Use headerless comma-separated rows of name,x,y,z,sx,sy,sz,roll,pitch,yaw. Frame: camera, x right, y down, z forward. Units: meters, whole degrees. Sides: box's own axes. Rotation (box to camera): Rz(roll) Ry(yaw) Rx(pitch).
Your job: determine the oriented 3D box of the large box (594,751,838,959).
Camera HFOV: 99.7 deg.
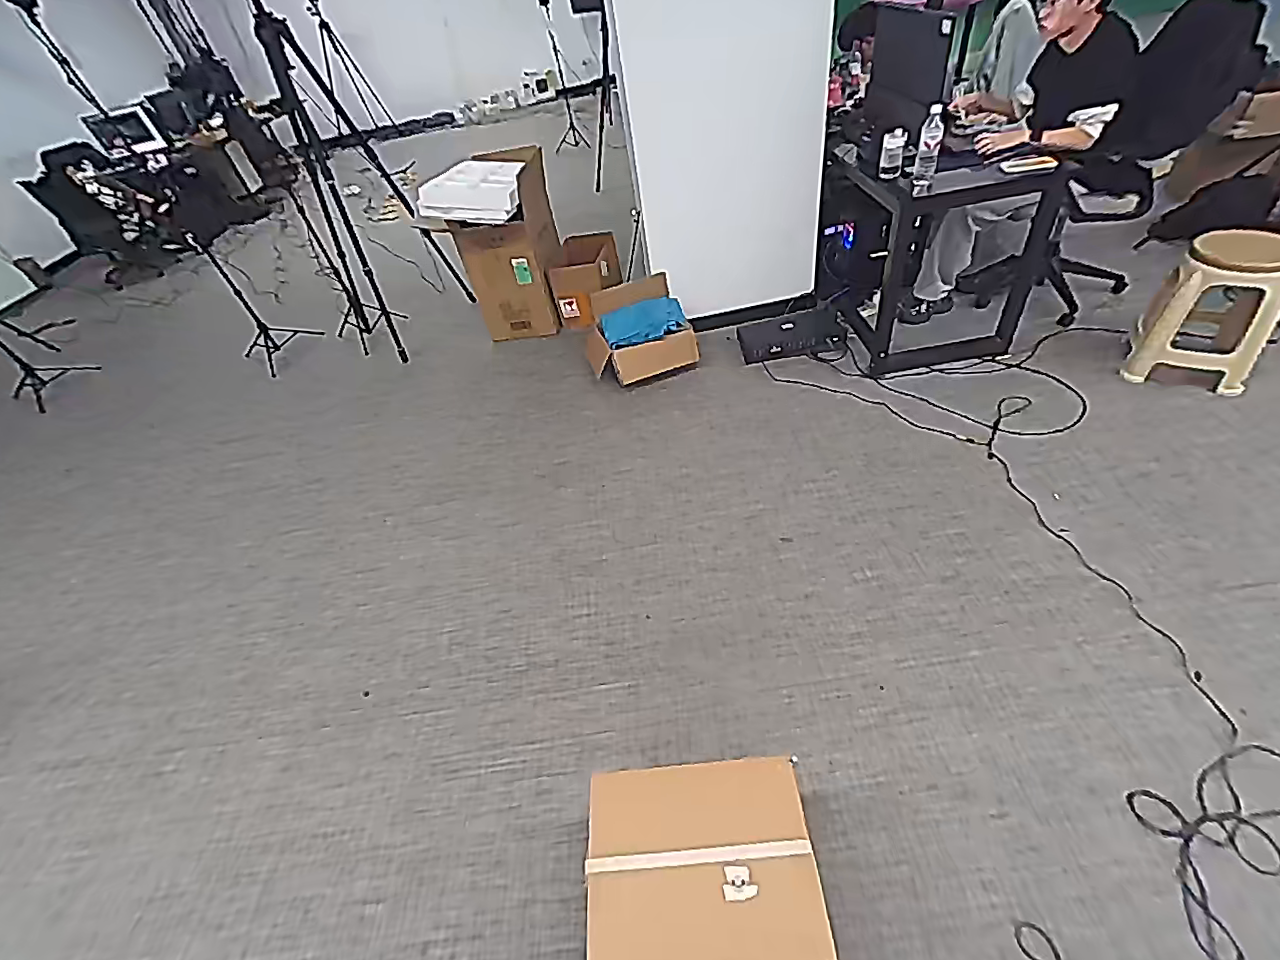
large box,0.133,0.778,1.077,0.408,0.320,0.320,-8,44,4
